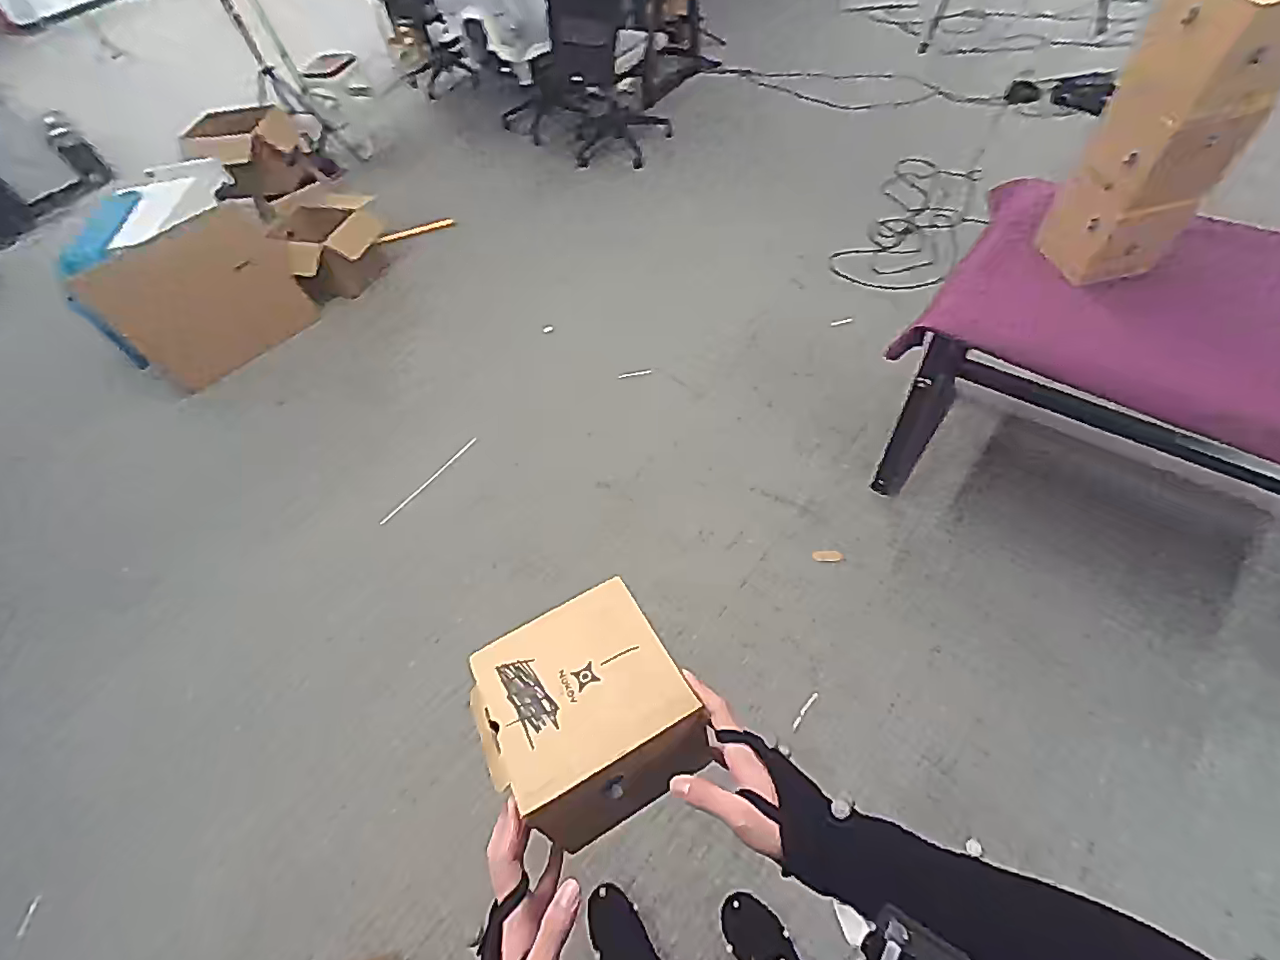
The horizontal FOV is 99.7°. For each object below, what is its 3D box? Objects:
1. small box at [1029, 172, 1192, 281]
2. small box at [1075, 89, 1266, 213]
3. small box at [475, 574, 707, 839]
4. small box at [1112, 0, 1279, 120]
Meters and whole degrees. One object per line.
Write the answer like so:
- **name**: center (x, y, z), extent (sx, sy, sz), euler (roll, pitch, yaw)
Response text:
- **small box**: center (1.004, -0.555, 1.175), extent (0.168, 0.176, 0.179), euler (-11, 56, 0)
- **small box**: center (0.991, -0.643, 1.039), extent (0.179, 0.176, 0.168), euler (-11, 57, 1)
- **small box**: center (-0.044, 0.238, 0.567), extent (0.179, 0.176, 0.168), euler (-25, 48, -13)
- **small box**: center (0.967, -0.734, 0.907), extent (0.168, 0.176, 0.179), euler (-13, 57, 1)
